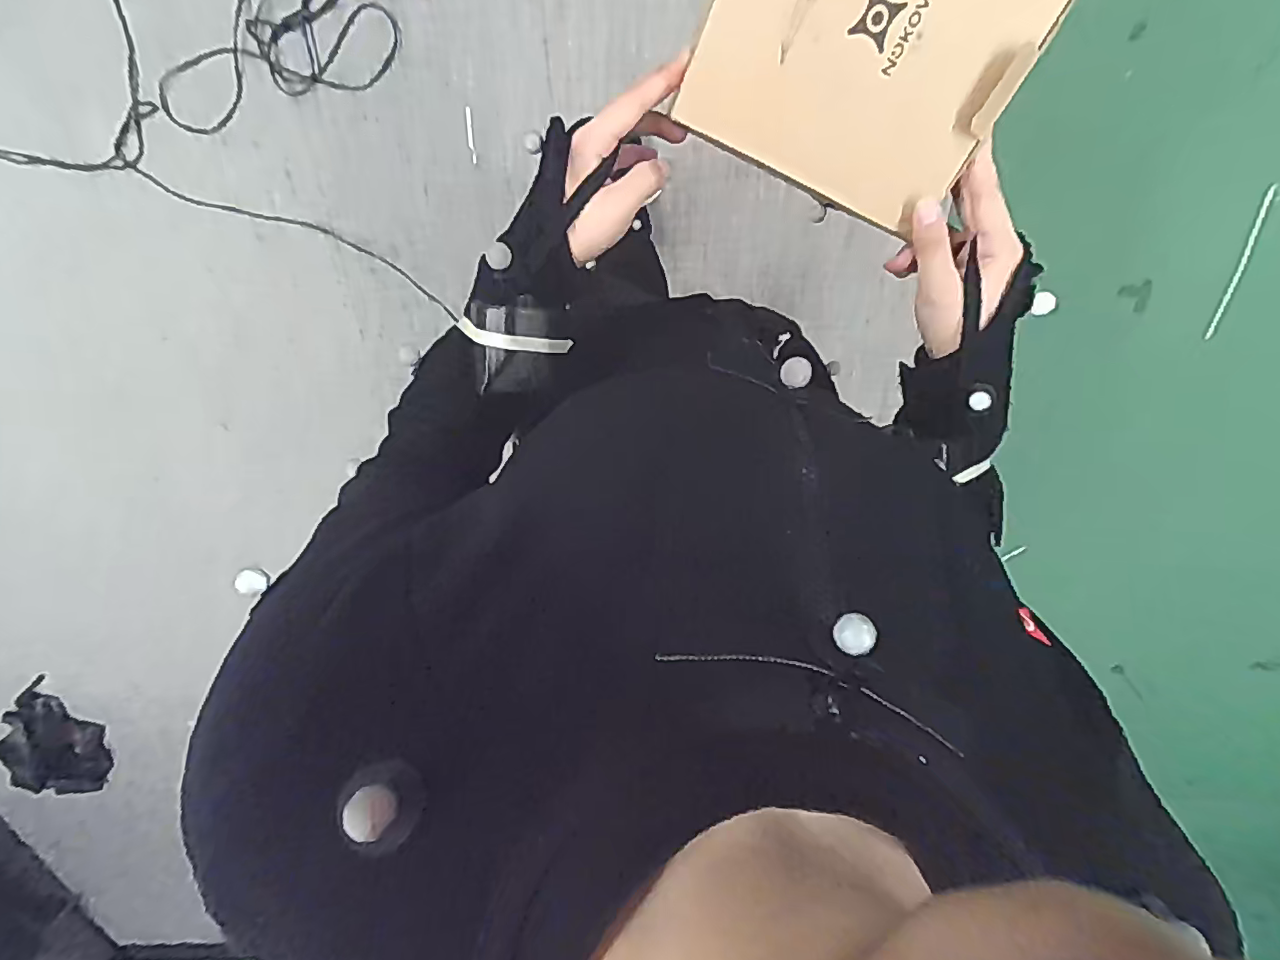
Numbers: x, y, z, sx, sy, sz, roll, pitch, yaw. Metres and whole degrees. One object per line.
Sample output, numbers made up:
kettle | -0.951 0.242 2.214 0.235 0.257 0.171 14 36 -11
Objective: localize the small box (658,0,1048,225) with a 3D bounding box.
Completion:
small box | 0.121 -0.293 0.350 0.179 0.176 0.168 19 121 -10
